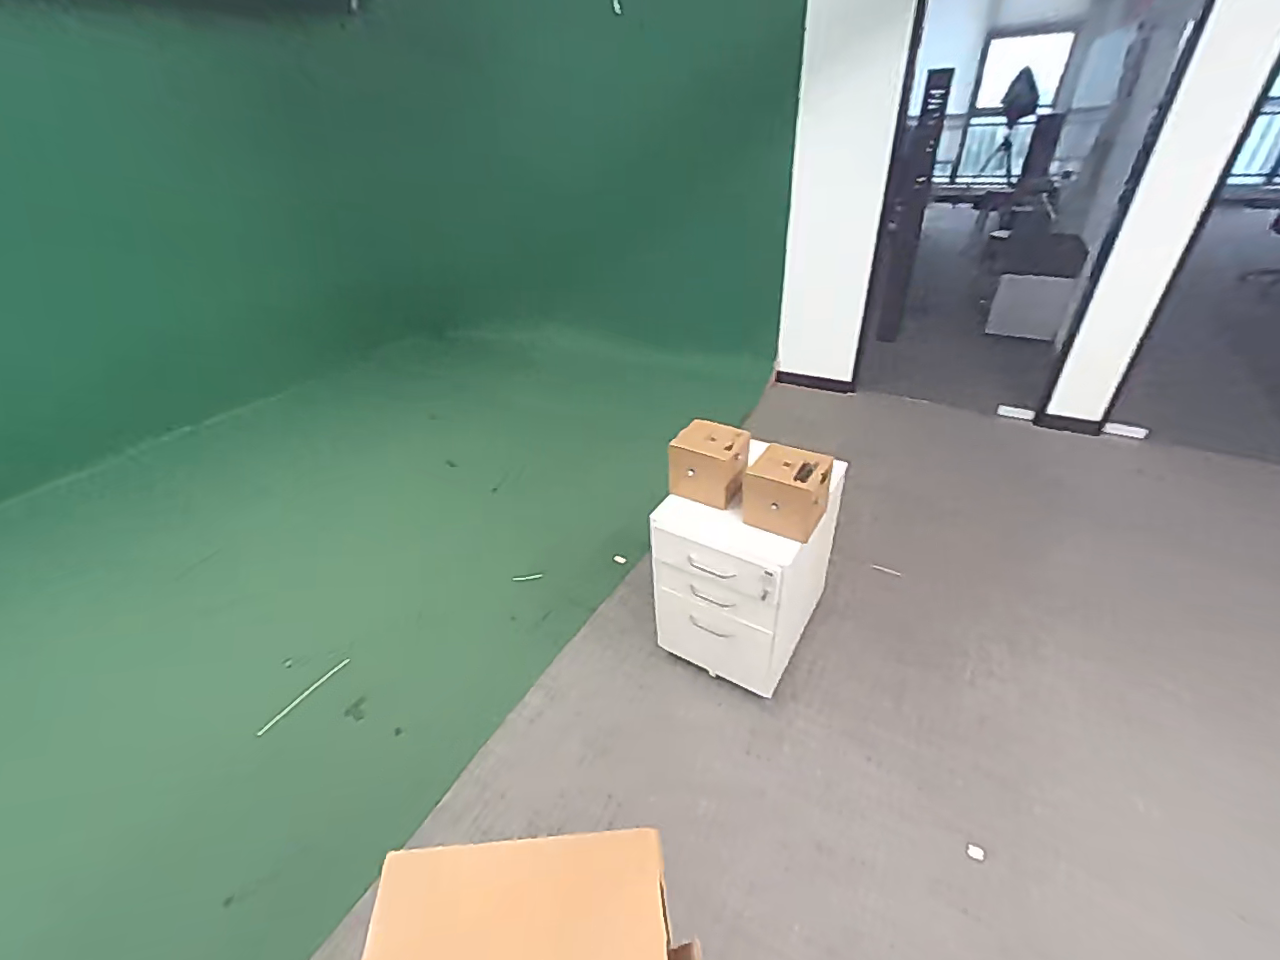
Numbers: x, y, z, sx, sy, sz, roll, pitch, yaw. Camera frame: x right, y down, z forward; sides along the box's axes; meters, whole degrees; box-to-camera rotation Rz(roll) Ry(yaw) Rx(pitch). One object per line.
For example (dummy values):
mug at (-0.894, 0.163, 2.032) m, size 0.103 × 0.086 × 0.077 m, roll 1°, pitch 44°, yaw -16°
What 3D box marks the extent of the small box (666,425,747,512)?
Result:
small box at (0.188, -0.032, 1.539) m, size 0.179 × 0.176 × 0.168 m, roll 17°, pitch 40°, yaw 27°
